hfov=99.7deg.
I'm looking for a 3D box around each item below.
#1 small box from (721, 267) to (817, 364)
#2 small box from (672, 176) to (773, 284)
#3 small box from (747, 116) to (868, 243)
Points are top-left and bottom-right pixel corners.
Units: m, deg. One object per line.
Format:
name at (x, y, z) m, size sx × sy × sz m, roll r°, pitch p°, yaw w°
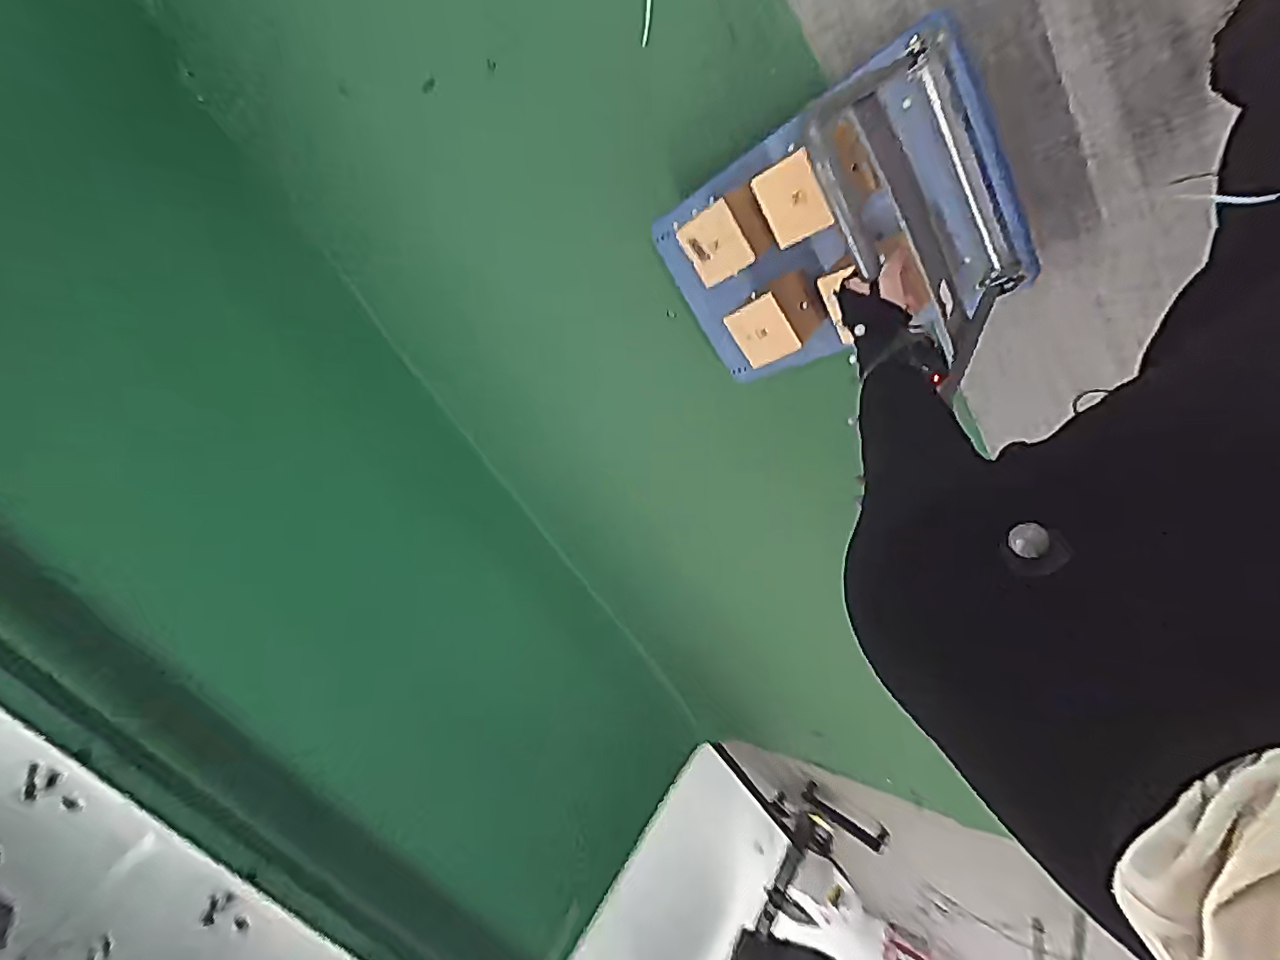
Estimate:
small box at (0.364, -0.455, 1.491) m, size 0.168 × 0.176 × 0.179 m, roll 53°, pitch 146°, yaw -15°
small box at (0.224, -0.651, 1.411) m, size 0.179 × 0.176 × 0.168 m, roll -13°, pitch 119°, yaw 52°
small box at (0.380, -0.675, 1.219) m, size 0.179 × 0.176 × 0.168 m, roll -9°, pitch 122°, yaw 50°
